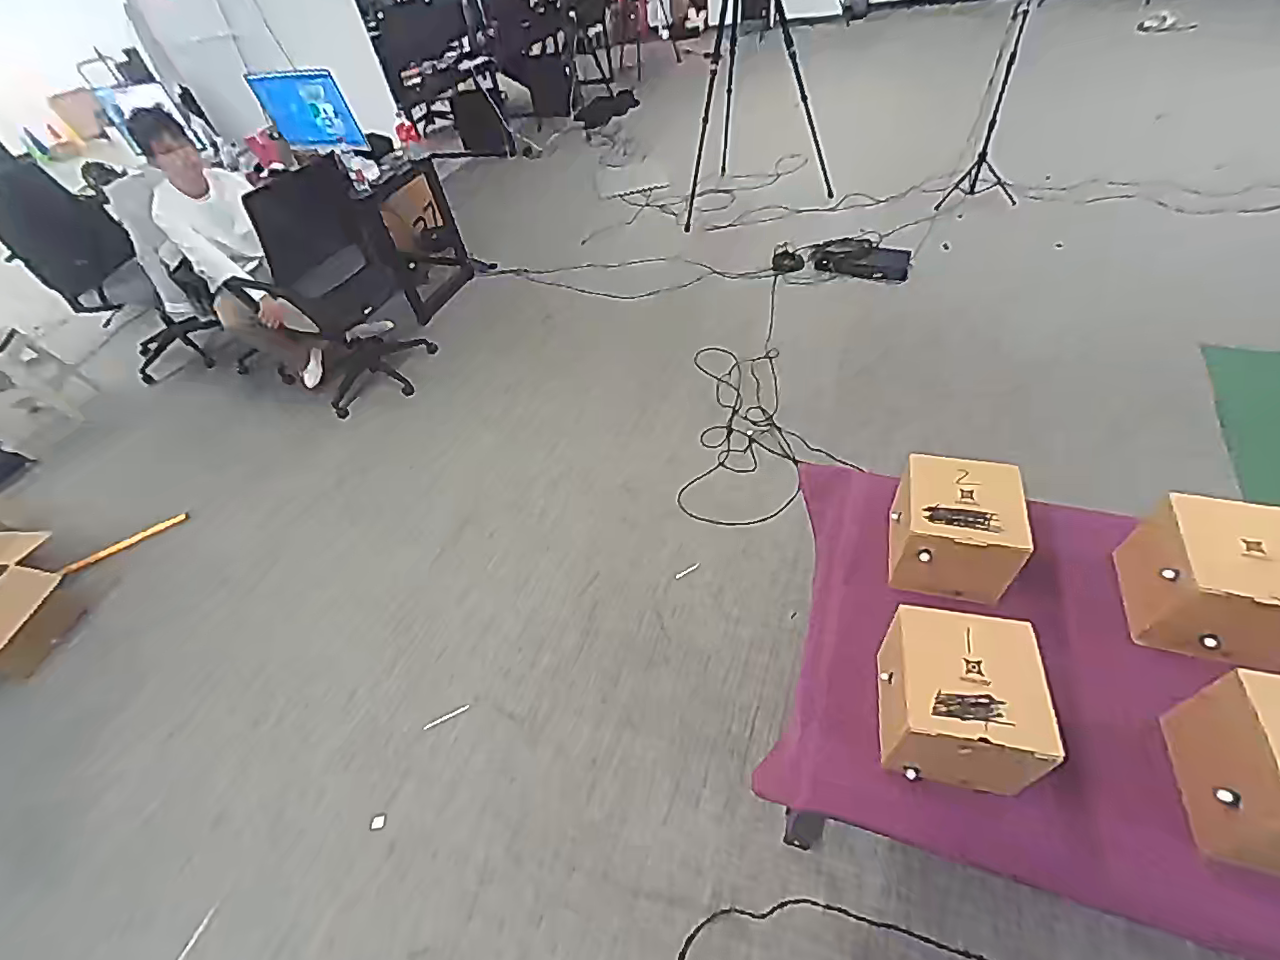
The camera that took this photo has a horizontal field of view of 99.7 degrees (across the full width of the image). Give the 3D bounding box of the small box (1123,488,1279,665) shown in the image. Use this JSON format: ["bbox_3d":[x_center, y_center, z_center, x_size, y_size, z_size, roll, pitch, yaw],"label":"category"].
[{"bbox_3d":[0.861,0.142,0.796,0.168,0.176,0.179,10,53,19],"label":"small box"}]

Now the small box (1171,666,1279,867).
[{"bbox_3d":[0.782,0.349,0.627,0.168,0.176,0.179,8,50,17],"label":"small box"}]

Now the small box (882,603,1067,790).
[{"bbox_3d":[0.435,0.296,0.738,0.168,0.176,0.179,6,49,15],"label":"small box"}]
